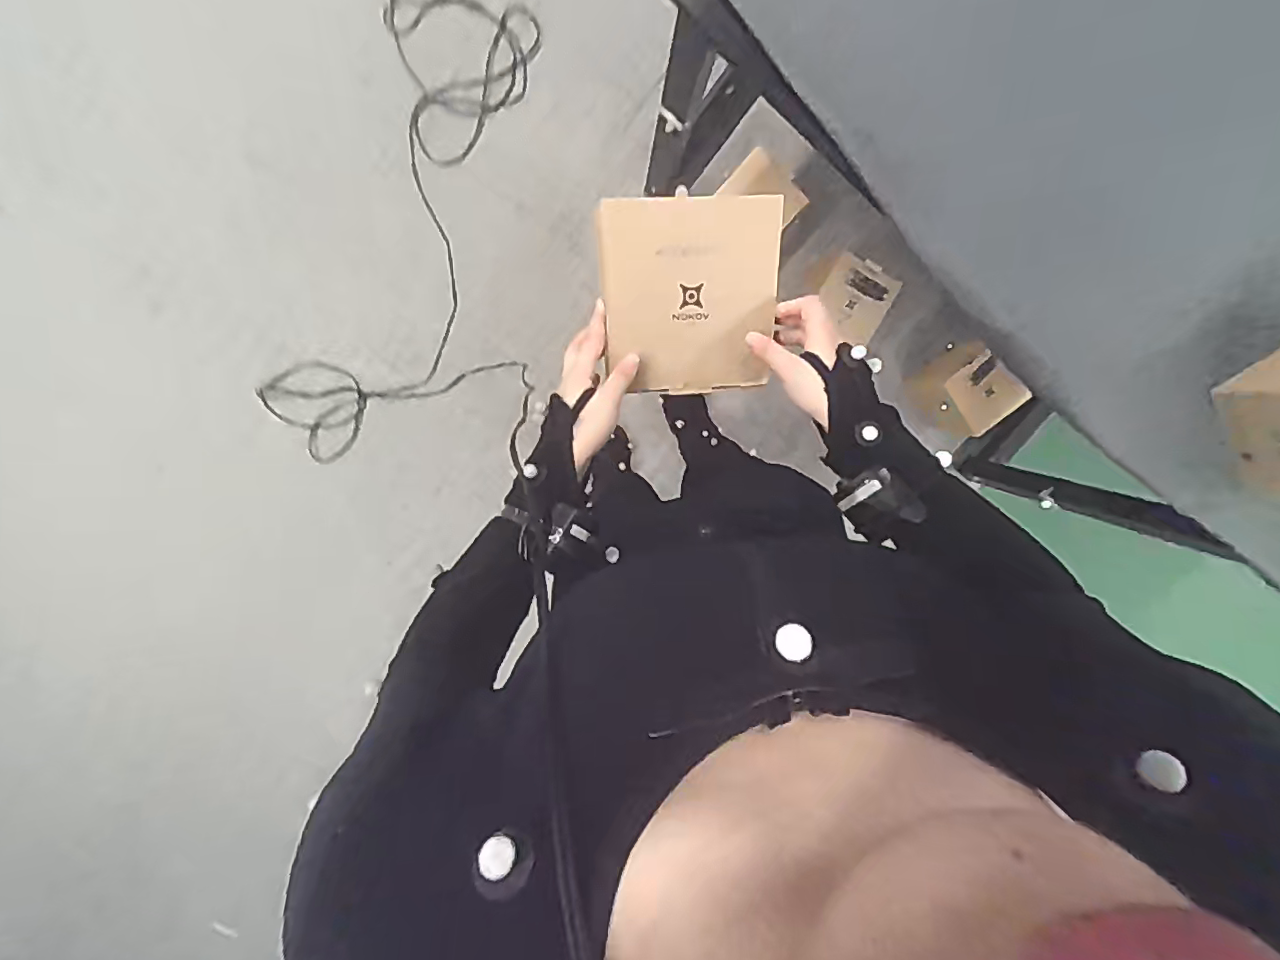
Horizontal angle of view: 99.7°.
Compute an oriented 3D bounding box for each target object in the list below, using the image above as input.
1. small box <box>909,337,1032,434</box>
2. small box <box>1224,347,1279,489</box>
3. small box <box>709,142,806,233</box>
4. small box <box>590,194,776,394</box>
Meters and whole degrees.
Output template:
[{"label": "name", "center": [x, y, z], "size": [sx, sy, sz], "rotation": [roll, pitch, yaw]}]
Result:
[{"label": "small box", "center": [0.828, -0.241, 1.374], "size": [0.168, 0.176, 0.179], "rotation": [-38, 103, 5]}, {"label": "small box", "center": [0.884, -0.086, 0.661], "size": [0.179, 0.176, 0.168], "rotation": [-31, 102, 1]}, {"label": "small box", "center": [0.248, -0.628, 1.263], "size": [0.168, 0.176, 0.179], "rotation": [42, 96, -10]}, {"label": "small box", "center": [0.033, -0.199, 0.575], "size": [0.168, 0.176, 0.179], "rotation": [-4, 113, -5]}]
